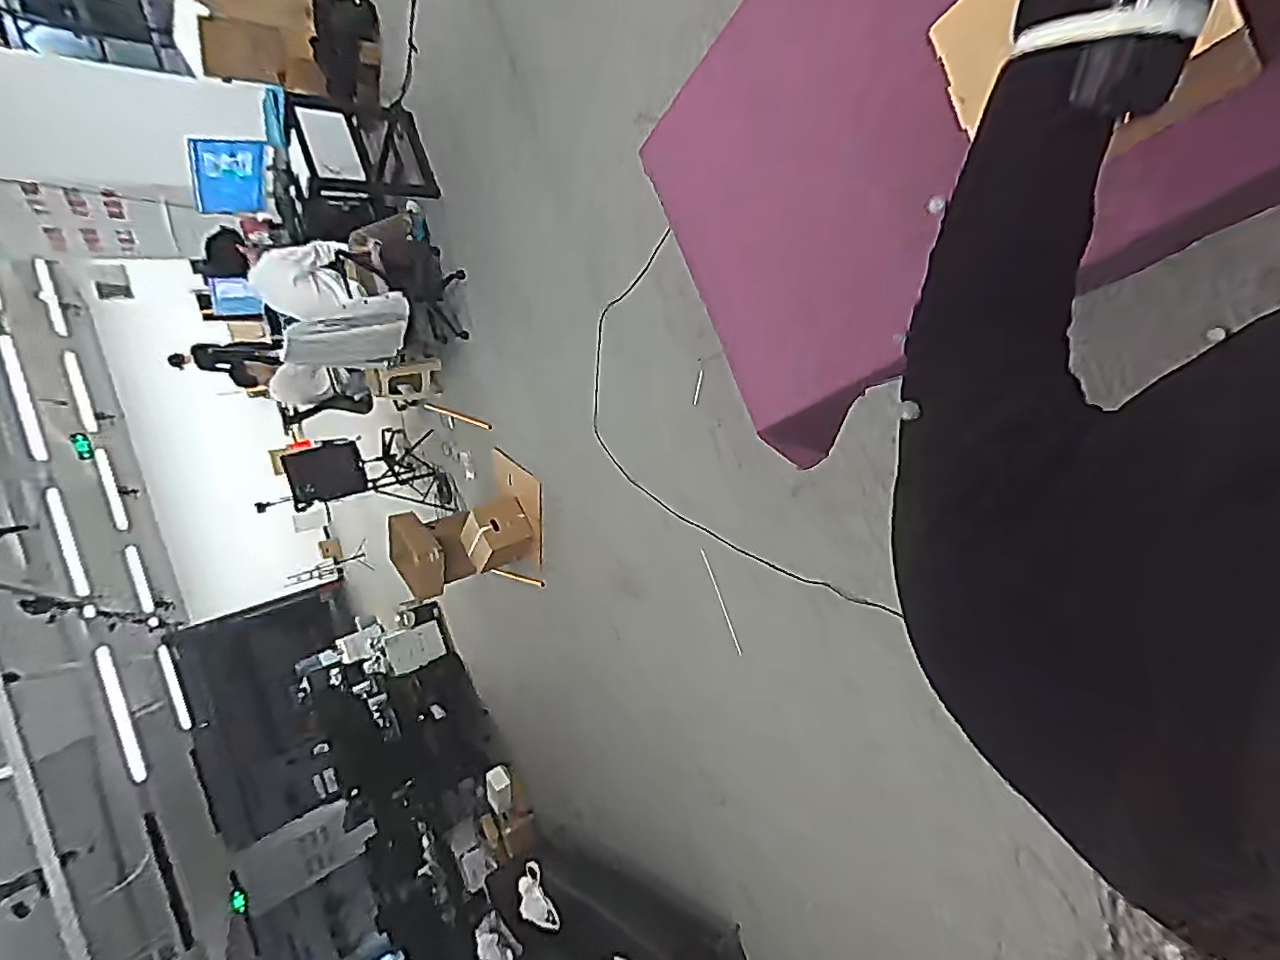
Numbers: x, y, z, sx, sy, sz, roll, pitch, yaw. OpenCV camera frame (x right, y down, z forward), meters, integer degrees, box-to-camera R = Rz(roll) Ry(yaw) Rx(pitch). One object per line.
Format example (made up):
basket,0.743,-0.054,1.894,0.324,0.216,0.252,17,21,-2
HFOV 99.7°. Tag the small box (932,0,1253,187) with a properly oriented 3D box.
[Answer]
small box,0.420,-0.406,0.509,0.179,0.176,0.168,-21,87,52
